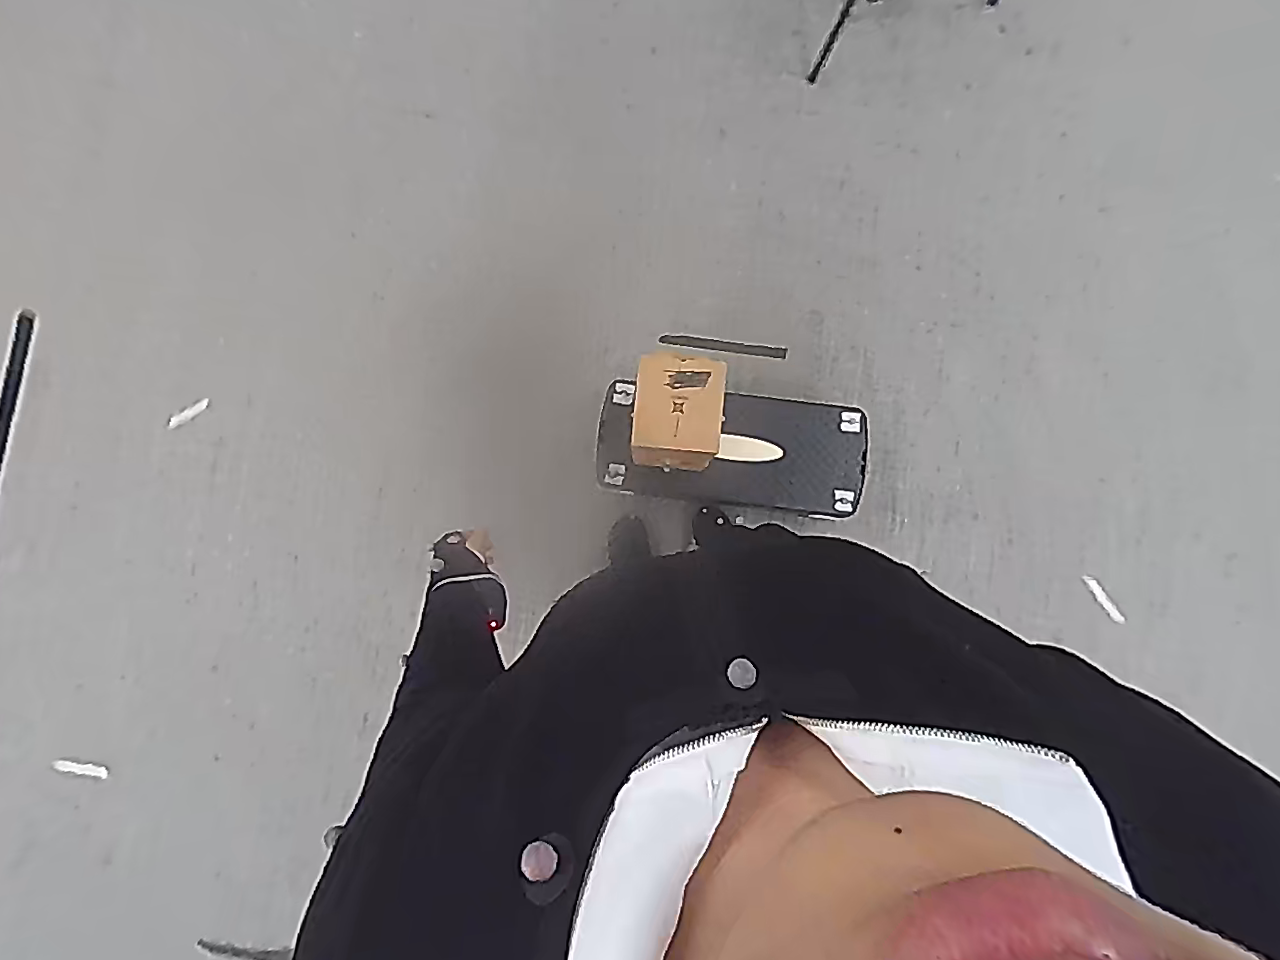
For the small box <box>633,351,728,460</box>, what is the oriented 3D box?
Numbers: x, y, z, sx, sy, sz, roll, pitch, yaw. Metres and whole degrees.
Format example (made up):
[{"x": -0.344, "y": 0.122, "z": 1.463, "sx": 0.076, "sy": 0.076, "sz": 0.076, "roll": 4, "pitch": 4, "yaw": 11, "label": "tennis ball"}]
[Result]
[{"x": 0.075, "y": -0.141, "z": 1.080, "sx": 0.168, "sy": 0.176, "sz": 0.179, "roll": 6, "pitch": 87, "yaw": 1, "label": "small box"}]

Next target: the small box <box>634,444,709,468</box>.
[{"x": 0.077, "y": -0.127, "z": 1.243, "sx": 0.168, "sy": 0.176, "sz": 0.179, "roll": 7, "pitch": 87, "yaw": 1, "label": "small box"}]
